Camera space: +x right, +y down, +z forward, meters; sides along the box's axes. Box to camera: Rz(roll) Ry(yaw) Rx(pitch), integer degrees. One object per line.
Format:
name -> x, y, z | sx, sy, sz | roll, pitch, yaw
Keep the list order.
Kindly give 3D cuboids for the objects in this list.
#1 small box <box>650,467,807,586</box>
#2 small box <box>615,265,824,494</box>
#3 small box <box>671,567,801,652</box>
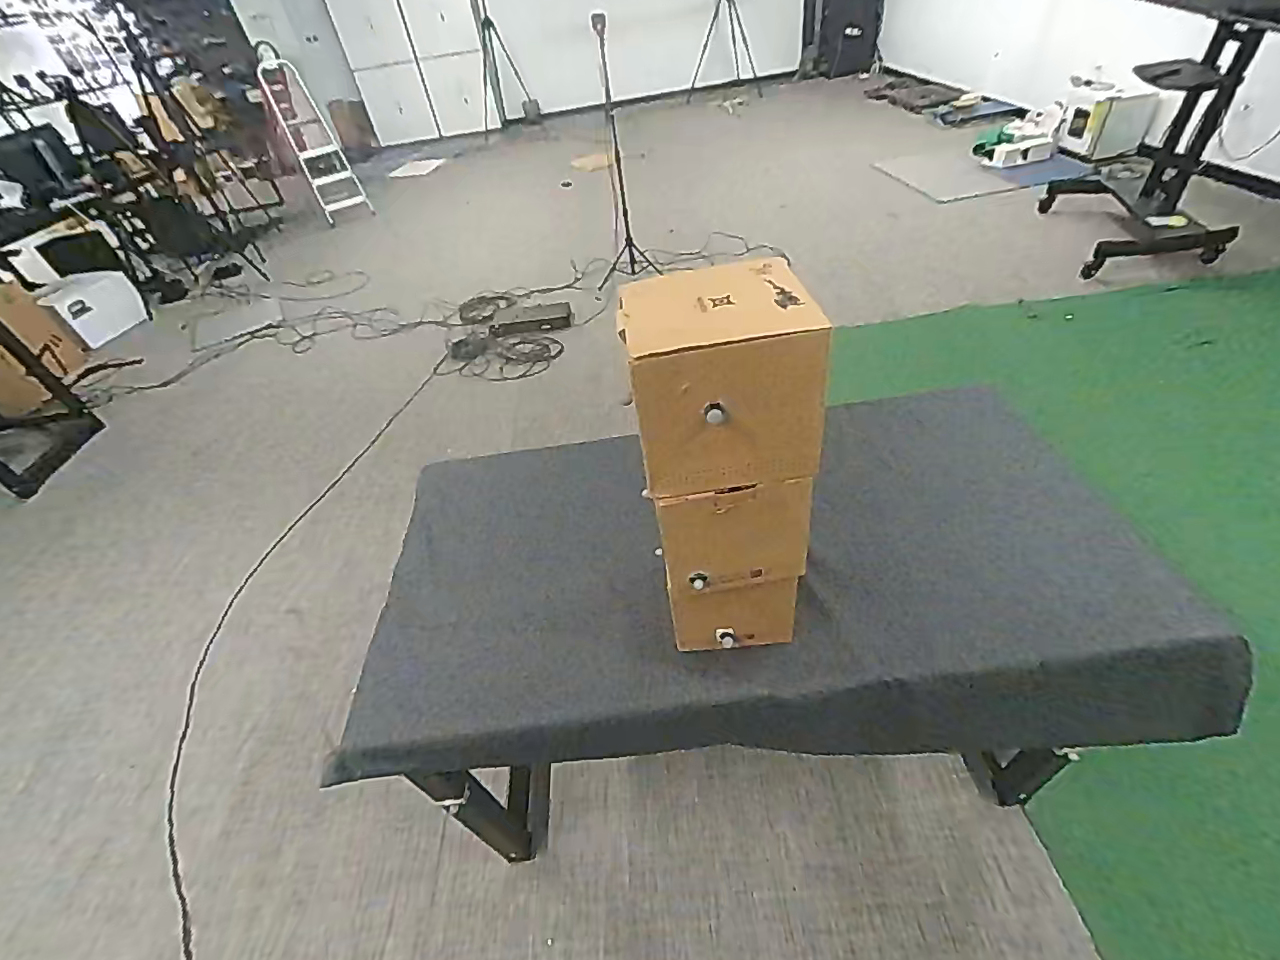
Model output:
small box -> 0.102, 0.015, 0.680 | 0.168, 0.176, 0.179 | -11, 40, 1
small box -> 0.079, -0.104, 0.573 | 0.179, 0.176, 0.168 | -11, 40, 0
small box -> 0.130, 0.127, 0.796 | 0.168, 0.176, 0.179 | -9, 43, 4
